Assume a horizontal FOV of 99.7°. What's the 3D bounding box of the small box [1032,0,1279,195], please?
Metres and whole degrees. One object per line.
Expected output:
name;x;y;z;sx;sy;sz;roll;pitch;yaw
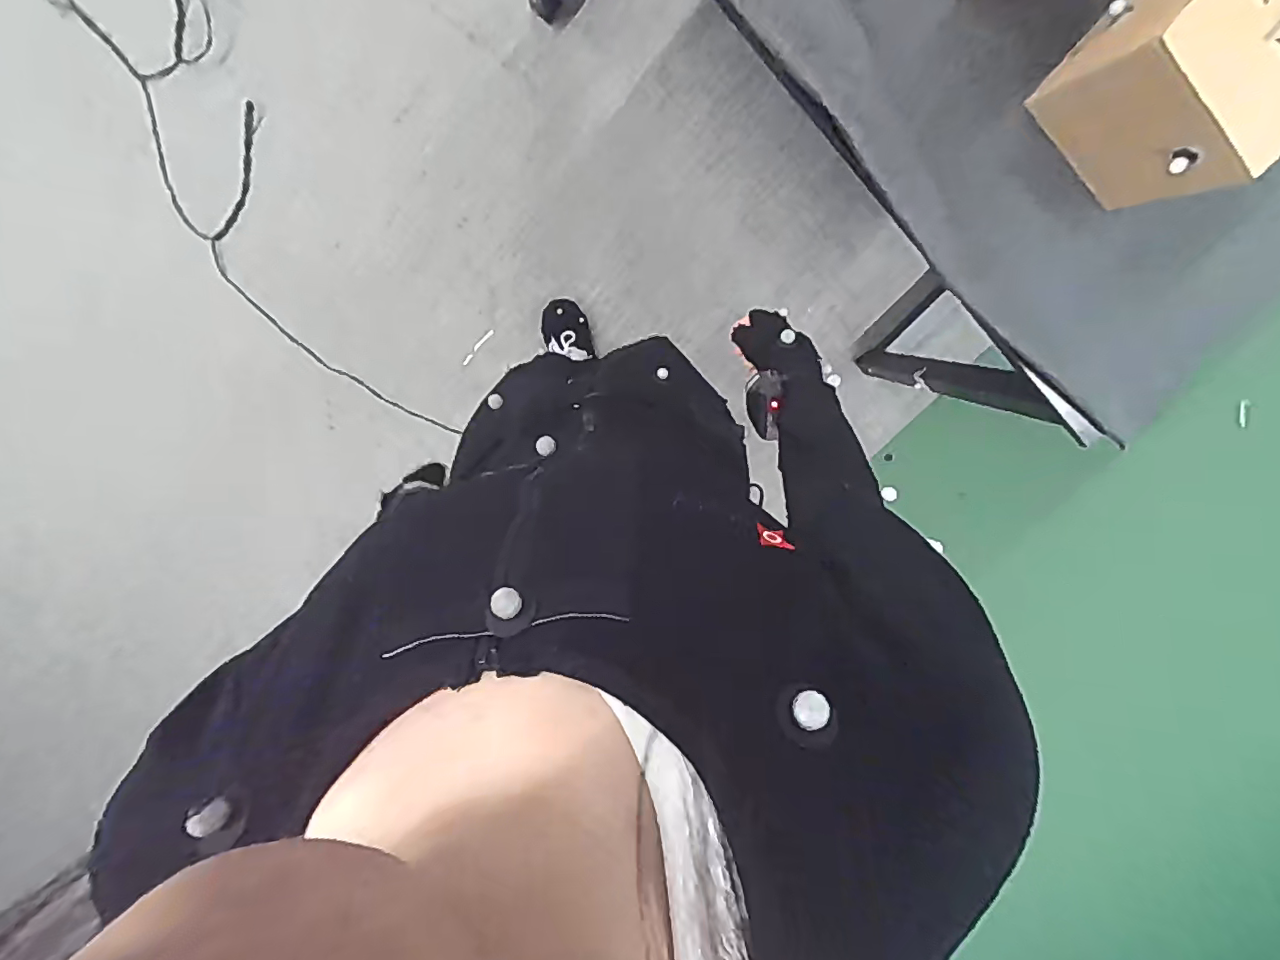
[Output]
small box;0.569;-0.425;0.555;0.179;0.176;0.168;39;102;-13
